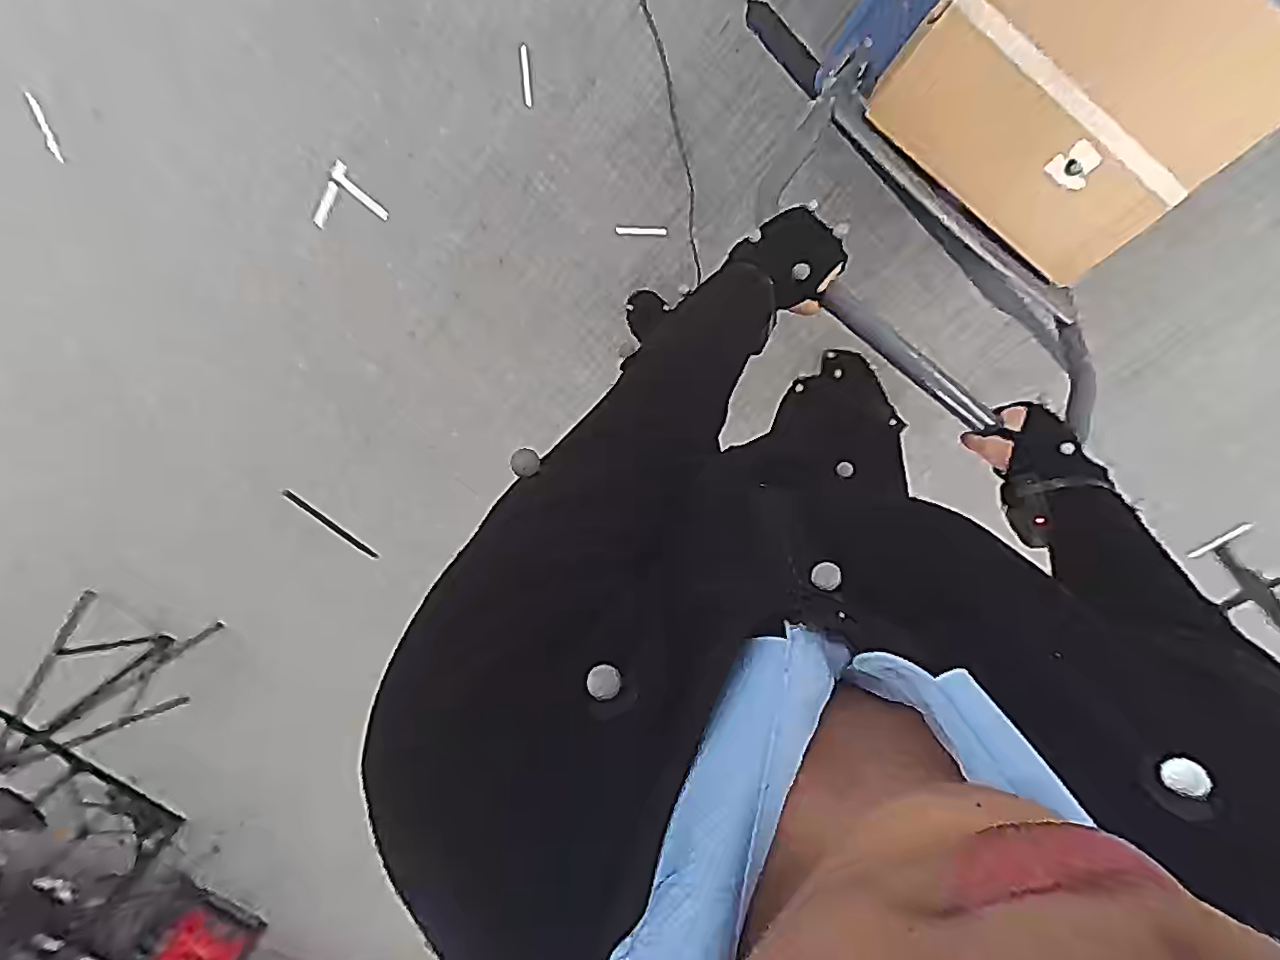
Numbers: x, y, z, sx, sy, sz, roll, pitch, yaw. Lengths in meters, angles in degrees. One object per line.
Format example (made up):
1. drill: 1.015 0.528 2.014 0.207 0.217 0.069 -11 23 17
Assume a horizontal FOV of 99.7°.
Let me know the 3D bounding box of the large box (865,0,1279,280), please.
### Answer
1. large box: 0.605 -0.592 0.809 0.408 0.320 0.320 35 136 -8
